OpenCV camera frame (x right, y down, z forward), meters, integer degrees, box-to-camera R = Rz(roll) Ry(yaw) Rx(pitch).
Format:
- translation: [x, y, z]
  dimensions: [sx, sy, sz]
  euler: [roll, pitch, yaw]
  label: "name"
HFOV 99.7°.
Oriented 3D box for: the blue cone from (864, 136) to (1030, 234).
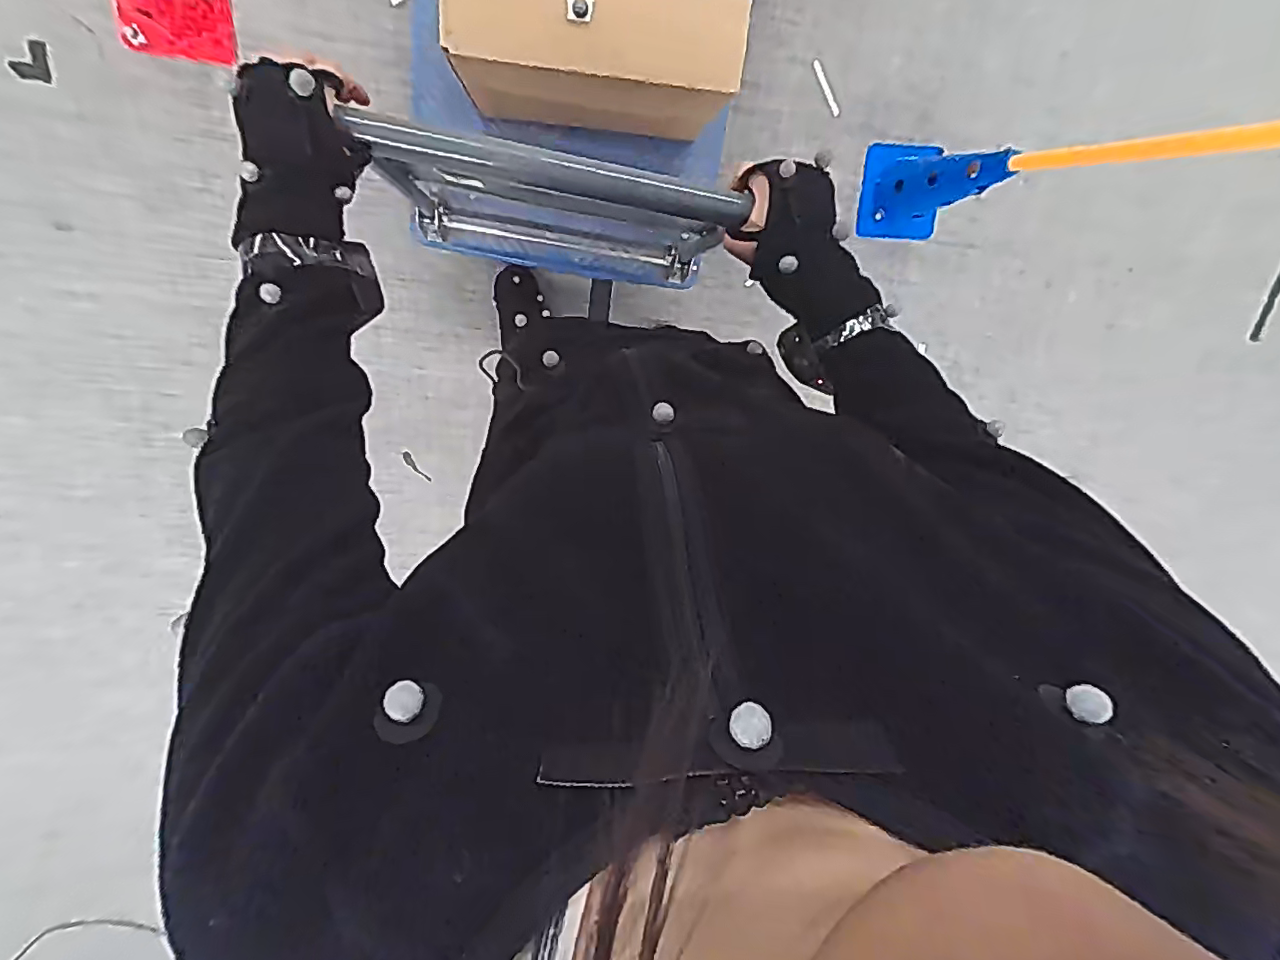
- translation: [0.647, -0.635, 1.126]
  dimensions: [0.193, 0.380, 0.192]
  euler: [1, 109, -8]
  label: "blue cone"
